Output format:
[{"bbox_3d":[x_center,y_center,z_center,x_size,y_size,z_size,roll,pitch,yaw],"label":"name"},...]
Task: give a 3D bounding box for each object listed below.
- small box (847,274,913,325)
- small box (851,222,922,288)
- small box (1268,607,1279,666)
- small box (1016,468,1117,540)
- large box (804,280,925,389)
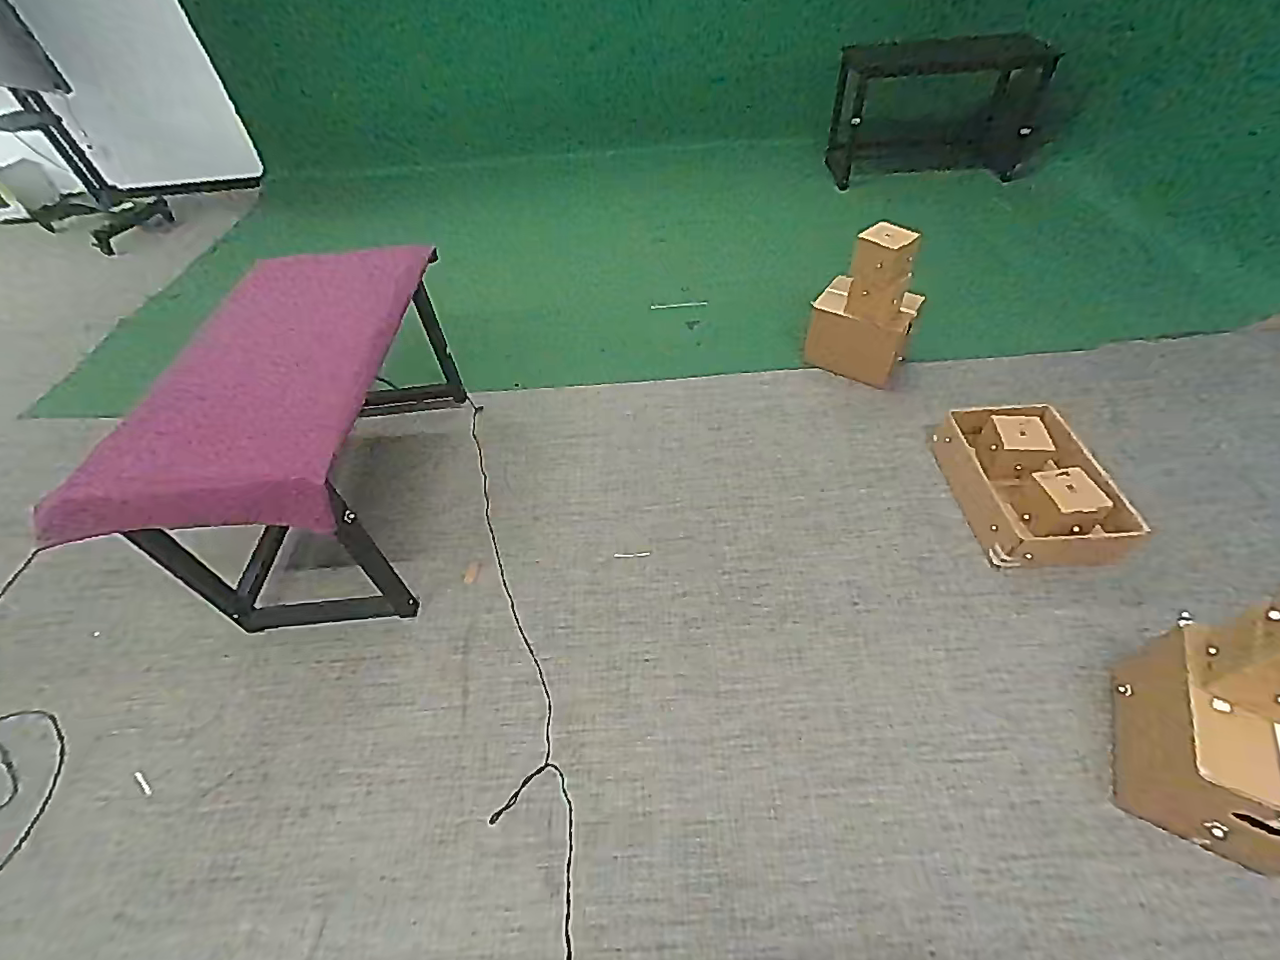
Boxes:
[{"bbox_3d":[0.999,-0.776,2.263,0.168,0.176,0.179,-38,55,-23],"label":"small box"},{"bbox_3d":[0.972,-0.889,2.147,0.168,0.176,0.179,-34,53,-21],"label":"small box"},{"bbox_3d":[1.385,0.302,1.034,0.179,0.176,0.168,28,57,29],"label":"small box"},{"bbox_3d":[1.407,0.086,1.797,0.168,0.176,0.179,-7,48,0],"label":"small box"},{"bbox_3d":[1.024,-0.674,2.496,0.408,0.320,0.320,26,55,26],"label":"large box"}]
